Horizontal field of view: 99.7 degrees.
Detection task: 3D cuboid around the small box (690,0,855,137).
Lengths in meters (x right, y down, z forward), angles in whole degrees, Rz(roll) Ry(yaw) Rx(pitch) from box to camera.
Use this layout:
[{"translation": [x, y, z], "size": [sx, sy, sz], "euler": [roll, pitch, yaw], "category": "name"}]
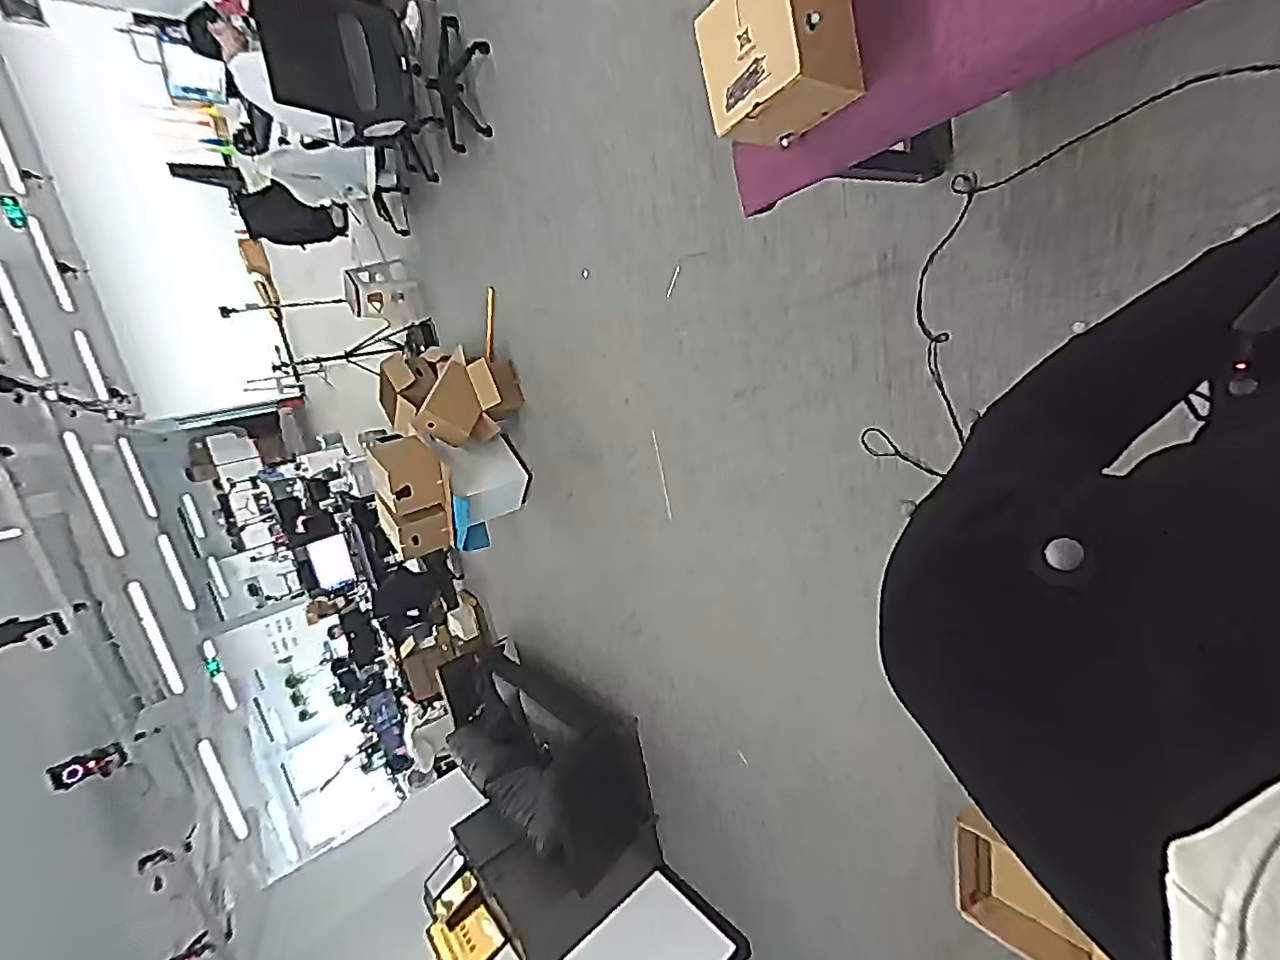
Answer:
[{"translation": [0.207, -0.655, 0.830], "size": [0.168, 0.176, 0.179], "euler": [-3, 103, 52], "category": "small box"}]
